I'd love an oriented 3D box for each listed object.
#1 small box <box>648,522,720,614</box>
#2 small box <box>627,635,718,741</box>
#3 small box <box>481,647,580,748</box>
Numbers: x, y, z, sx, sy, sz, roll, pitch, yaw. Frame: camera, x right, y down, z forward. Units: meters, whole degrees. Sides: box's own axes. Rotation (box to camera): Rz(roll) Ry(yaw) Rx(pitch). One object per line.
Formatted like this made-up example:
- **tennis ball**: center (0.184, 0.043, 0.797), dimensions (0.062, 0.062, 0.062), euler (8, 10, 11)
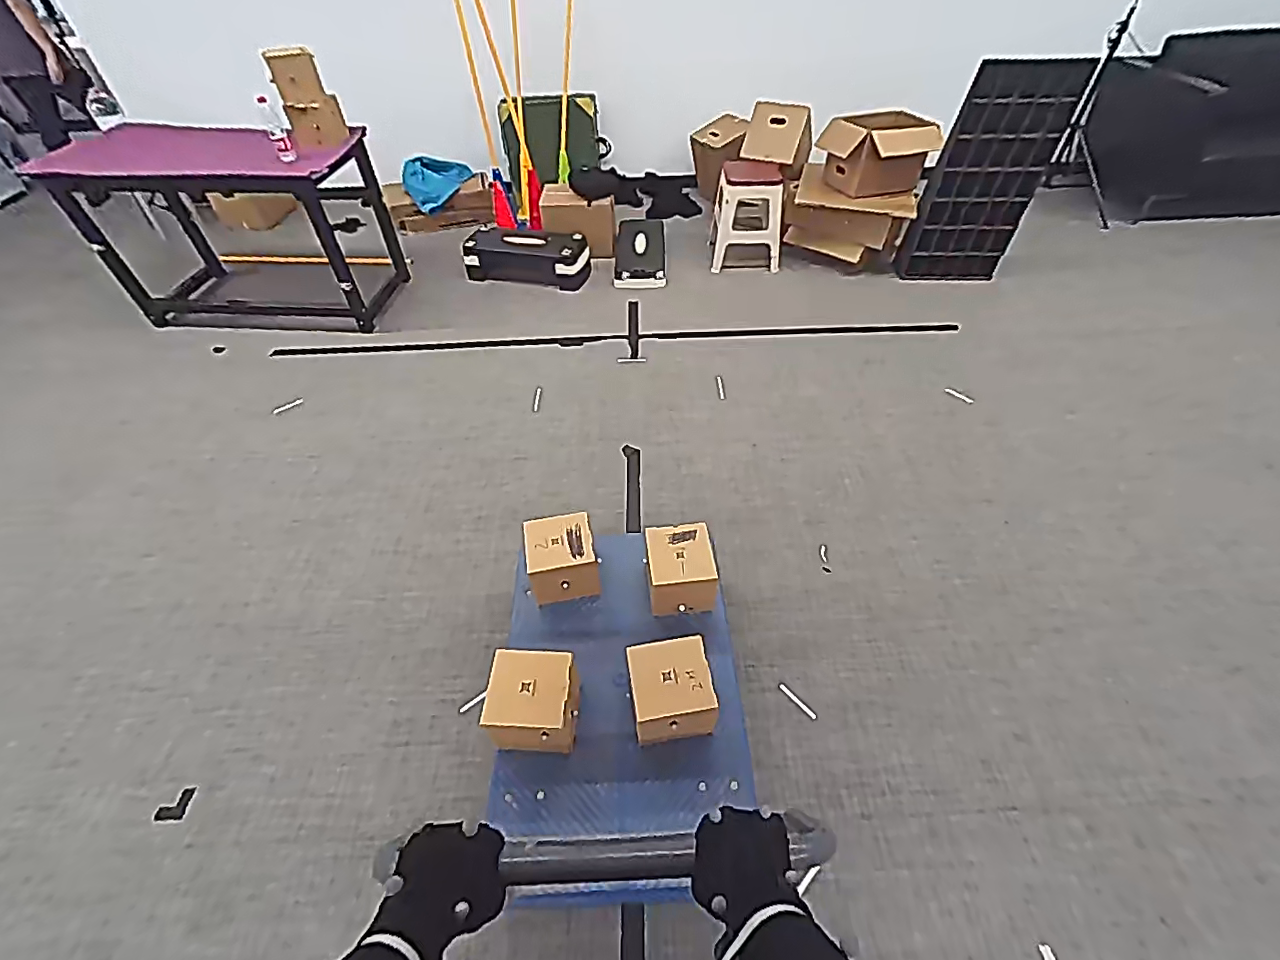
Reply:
- **small box**: center (0.110, 0.235, 1.437), dimensions (0.168, 0.176, 0.179), euler (-5, 50, -2)
- **small box**: center (0.071, 0.475, 1.228), dimensions (0.179, 0.176, 0.168), euler (-7, 49, -4)
- **small box**: center (-0.237, 0.494, 1.222), dimensions (0.179, 0.176, 0.168), euler (2, 49, 2)
